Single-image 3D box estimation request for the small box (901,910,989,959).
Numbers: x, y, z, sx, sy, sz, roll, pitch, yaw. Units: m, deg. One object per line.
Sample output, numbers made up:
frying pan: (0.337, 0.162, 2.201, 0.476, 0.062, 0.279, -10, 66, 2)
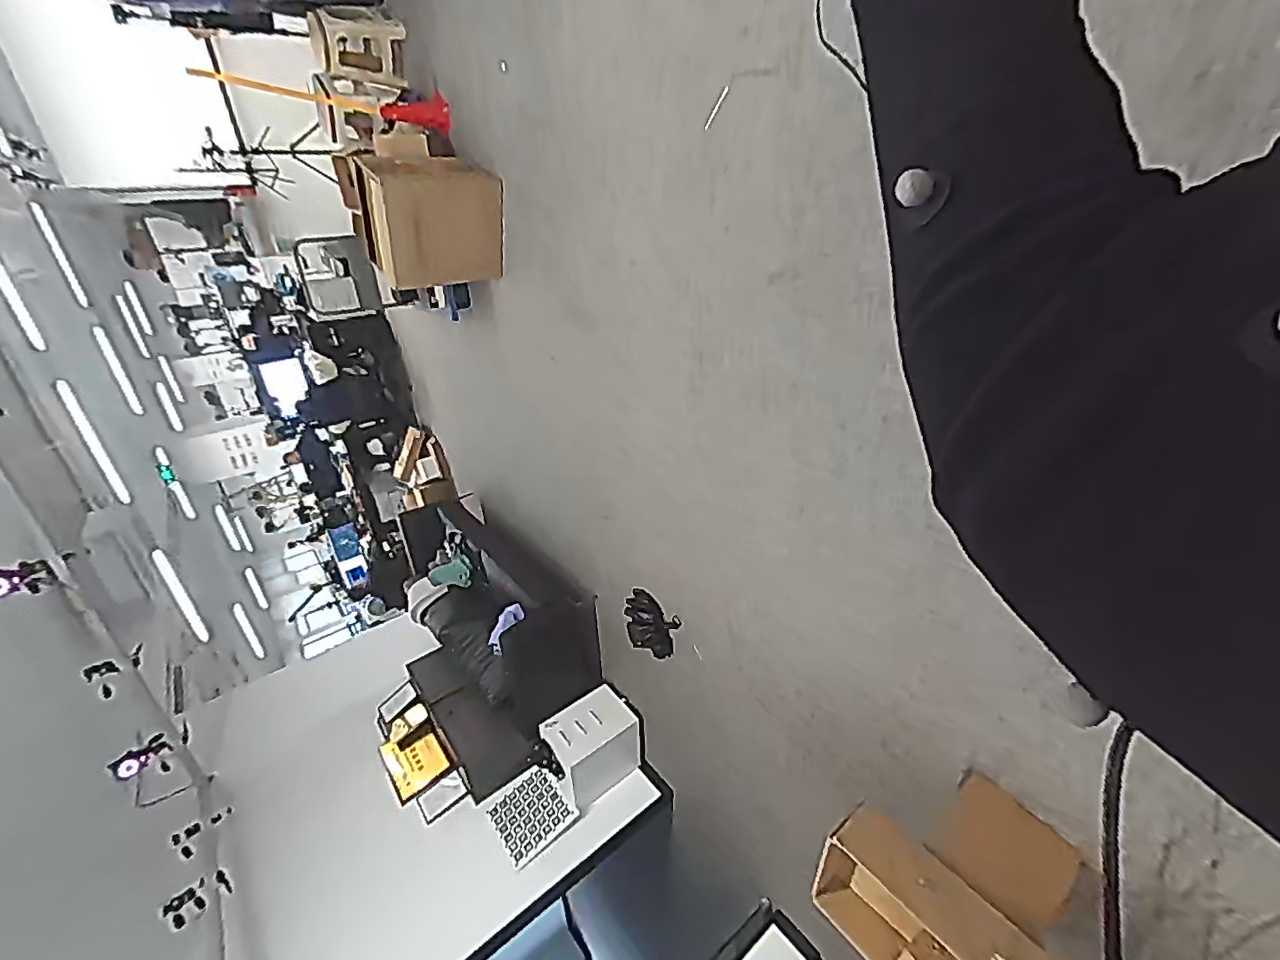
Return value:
small box: (0.825, 1.324, 1.463, 0.168, 0.176, 0.179, 36, 139, 43)
